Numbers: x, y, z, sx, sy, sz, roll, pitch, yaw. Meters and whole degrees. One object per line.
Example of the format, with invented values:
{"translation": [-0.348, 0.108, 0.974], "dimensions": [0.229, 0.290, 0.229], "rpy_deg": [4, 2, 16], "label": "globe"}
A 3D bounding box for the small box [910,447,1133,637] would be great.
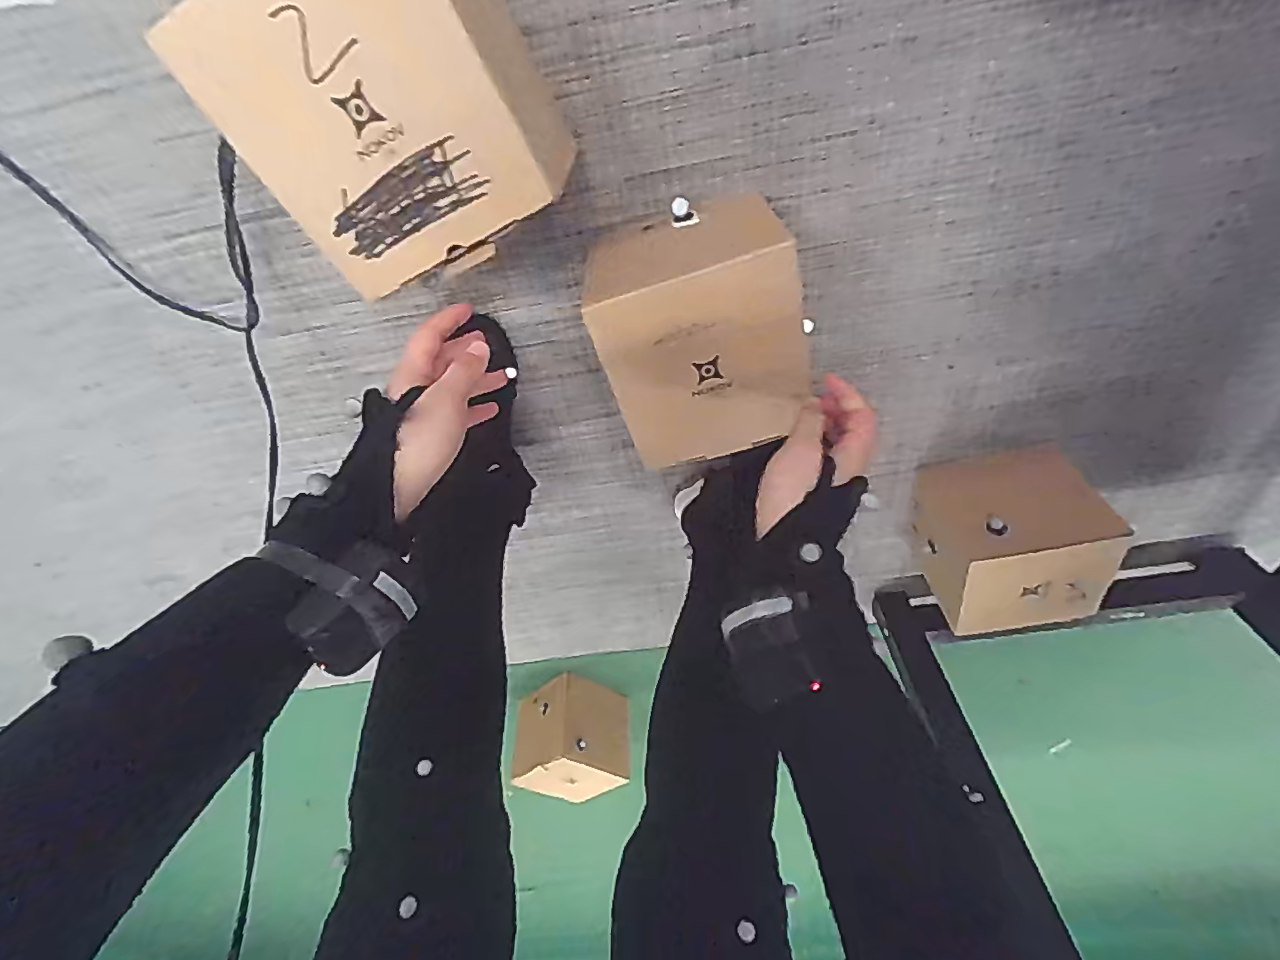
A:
{"translation": [0.480, 0.080, 0.719], "dimensions": [0.179, 0.176, 0.168], "rpy_deg": [-13, 131, 9], "label": "small box"}

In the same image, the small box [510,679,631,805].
{"translation": [-0.133, 0.530, 1.098], "dimensions": [0.179, 0.176, 0.168], "rpy_deg": [36, 122, -28], "label": "small box"}
